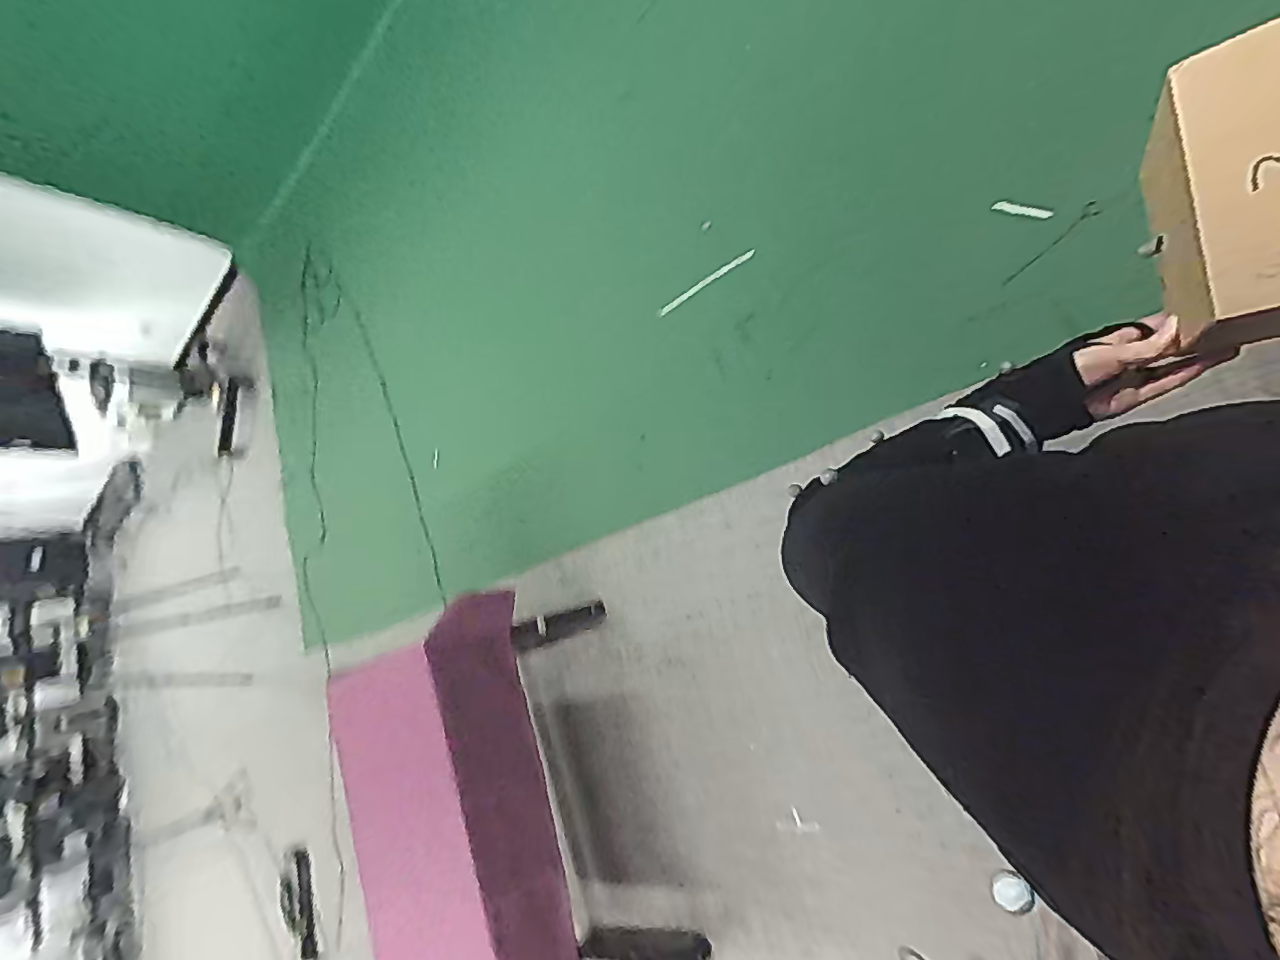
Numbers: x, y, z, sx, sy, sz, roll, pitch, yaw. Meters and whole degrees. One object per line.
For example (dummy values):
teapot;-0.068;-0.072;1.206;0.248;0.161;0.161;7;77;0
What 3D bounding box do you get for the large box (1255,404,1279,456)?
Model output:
large box;1.291;-0.068;0.783;0.408;0.320;0.320;-25;75;32
